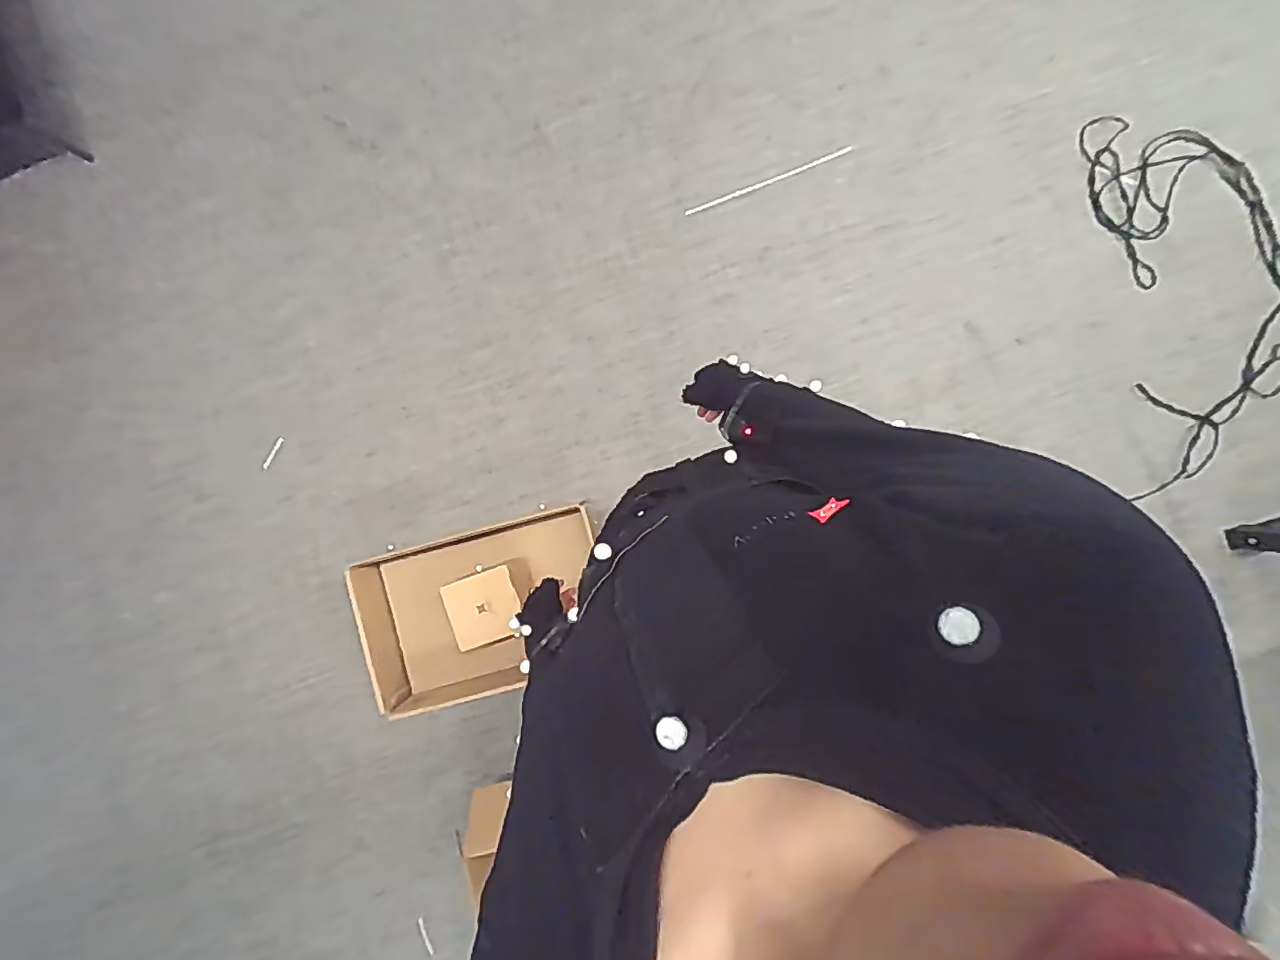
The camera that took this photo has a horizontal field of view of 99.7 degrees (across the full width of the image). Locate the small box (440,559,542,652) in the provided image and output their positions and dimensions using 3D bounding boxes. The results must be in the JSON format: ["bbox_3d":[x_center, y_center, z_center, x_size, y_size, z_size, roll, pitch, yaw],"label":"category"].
[{"bbox_3d":[-0.367,0.308,1.357,0.179,0.176,0.168,-20,88,2],"label":"small box"}]
